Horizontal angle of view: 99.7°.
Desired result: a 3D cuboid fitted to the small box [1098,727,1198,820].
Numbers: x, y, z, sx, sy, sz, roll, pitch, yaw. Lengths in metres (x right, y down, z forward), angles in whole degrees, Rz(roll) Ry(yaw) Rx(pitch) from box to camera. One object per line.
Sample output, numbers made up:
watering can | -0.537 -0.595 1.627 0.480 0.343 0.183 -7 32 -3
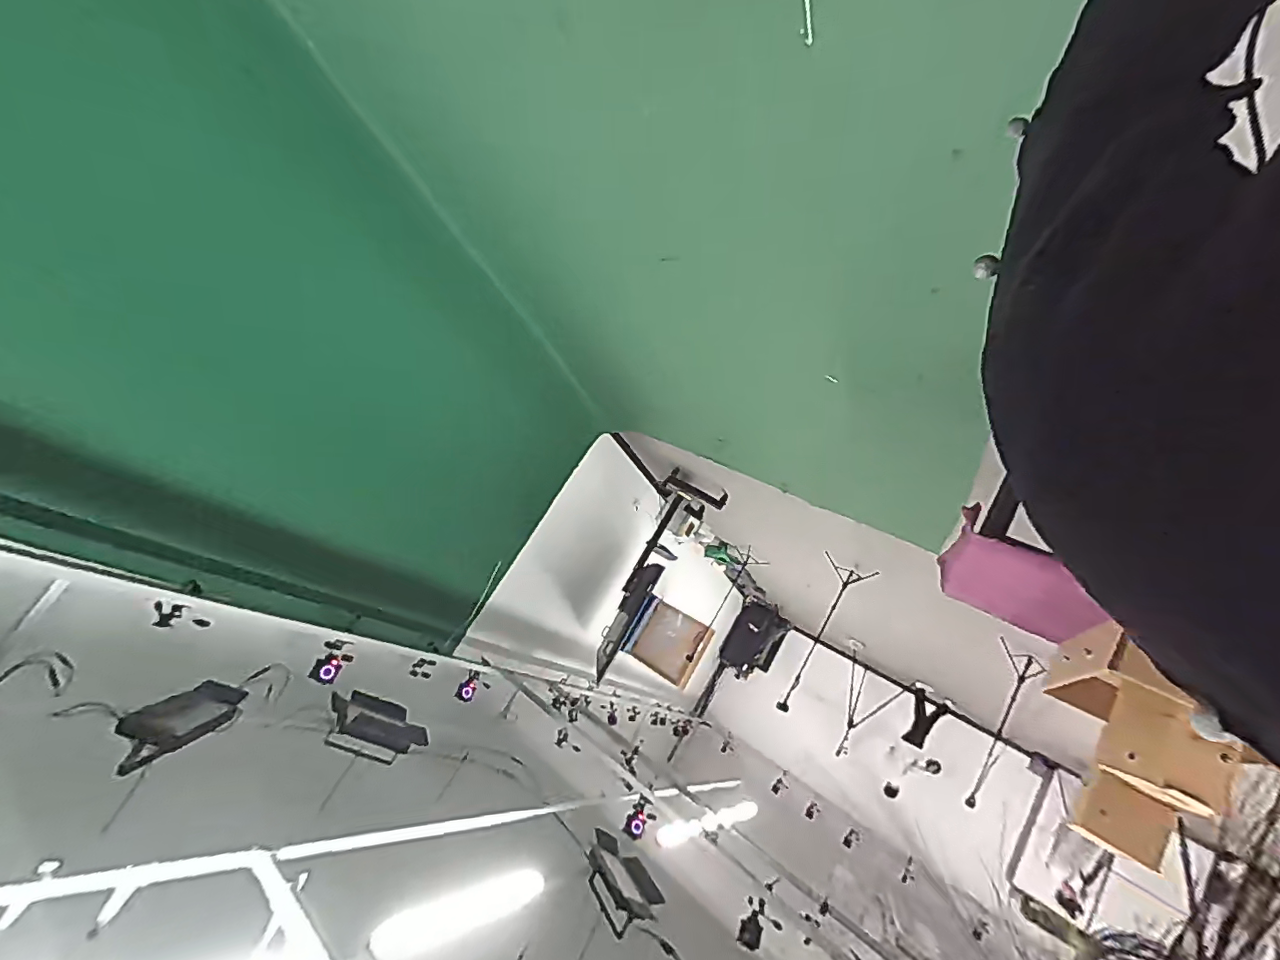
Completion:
small box | 1.468 0.829 1.544 0.179 0.176 0.168 25 165 32

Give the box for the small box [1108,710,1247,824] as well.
small box | 1.328 0.696 1.336 0.168 0.176 0.179 29 170 9

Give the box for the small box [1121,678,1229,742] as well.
small box | 1.559 0.700 1.579 0.168 0.176 0.179 26 165 30
